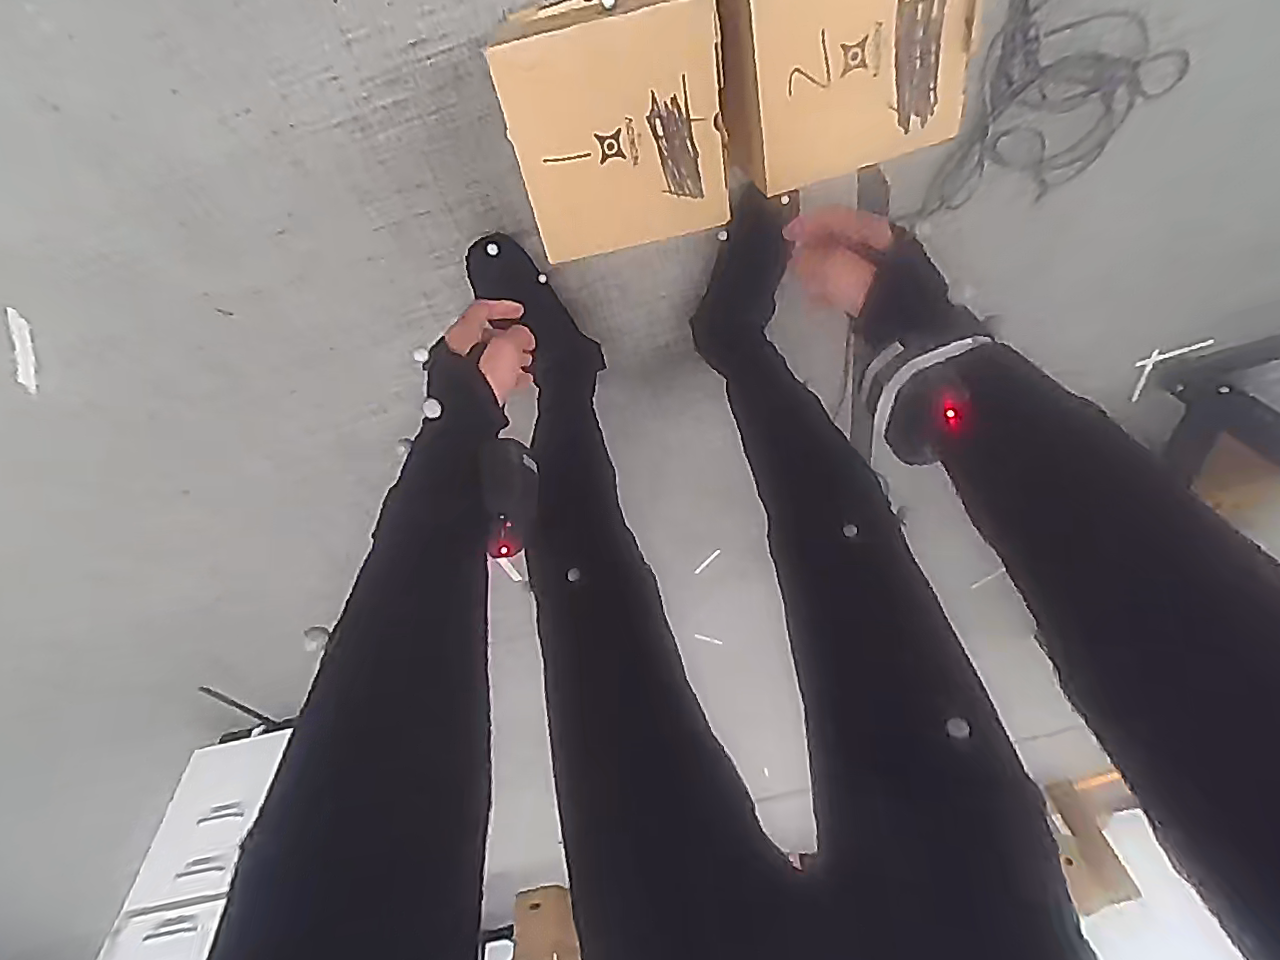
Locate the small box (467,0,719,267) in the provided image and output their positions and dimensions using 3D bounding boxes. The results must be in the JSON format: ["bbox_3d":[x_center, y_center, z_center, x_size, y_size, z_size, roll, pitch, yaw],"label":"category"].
[{"bbox_3d":[-0.035,-0.324,0.493,0.179,0.176,0.168,-11,134,4],"label":"small box"}]
